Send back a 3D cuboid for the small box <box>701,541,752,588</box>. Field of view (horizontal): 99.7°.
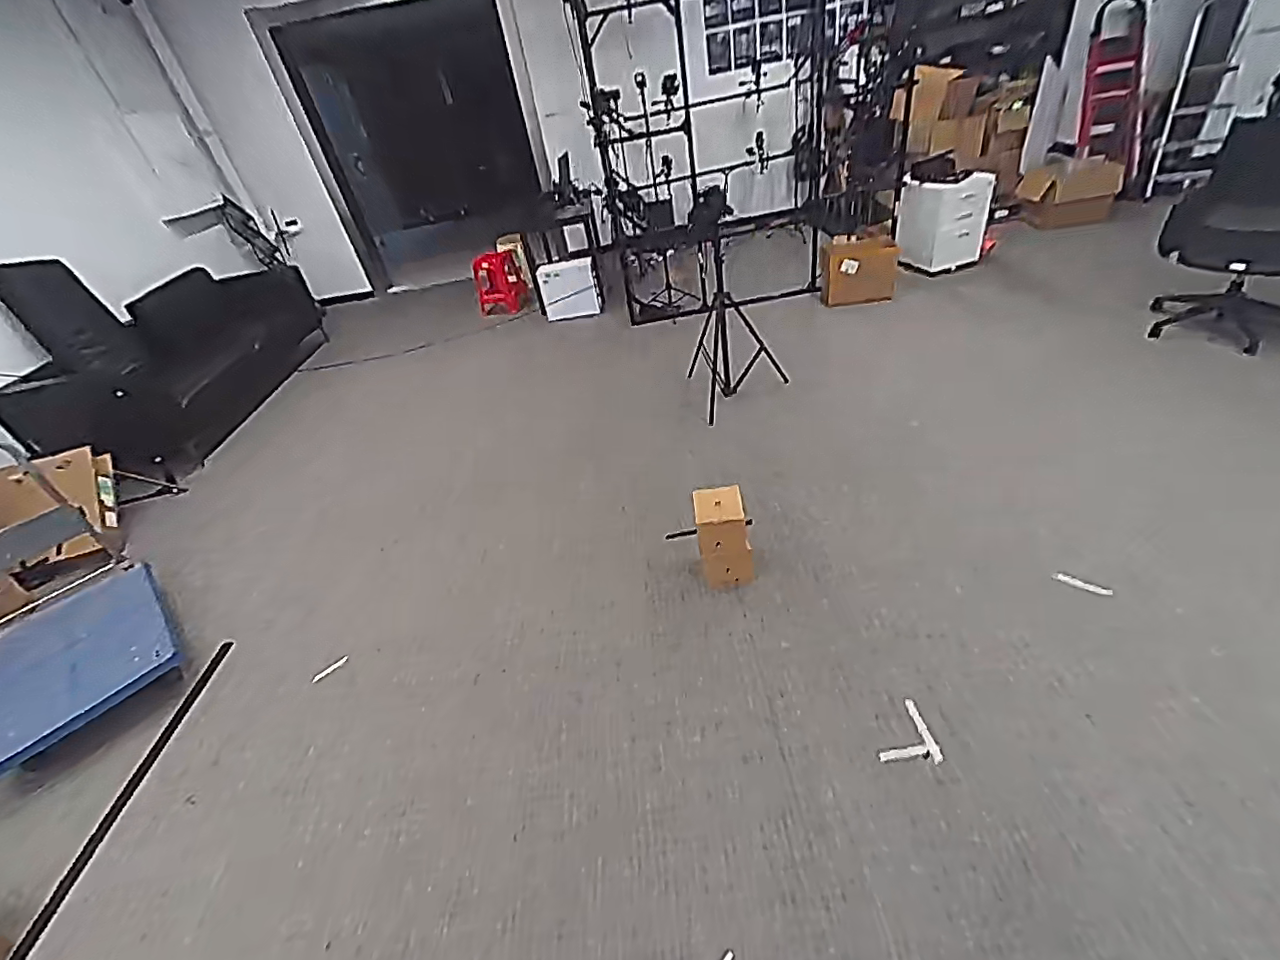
[{"bbox_3d":[0.315,0.284,2.011,0.168,0.176,0.179,-10,35,1],"label":"small box"}]

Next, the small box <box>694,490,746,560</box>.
[{"bbox_3d":[0.282,0.159,1.912,0.168,0.176,0.179,-7,37,7],"label":"small box"}]
